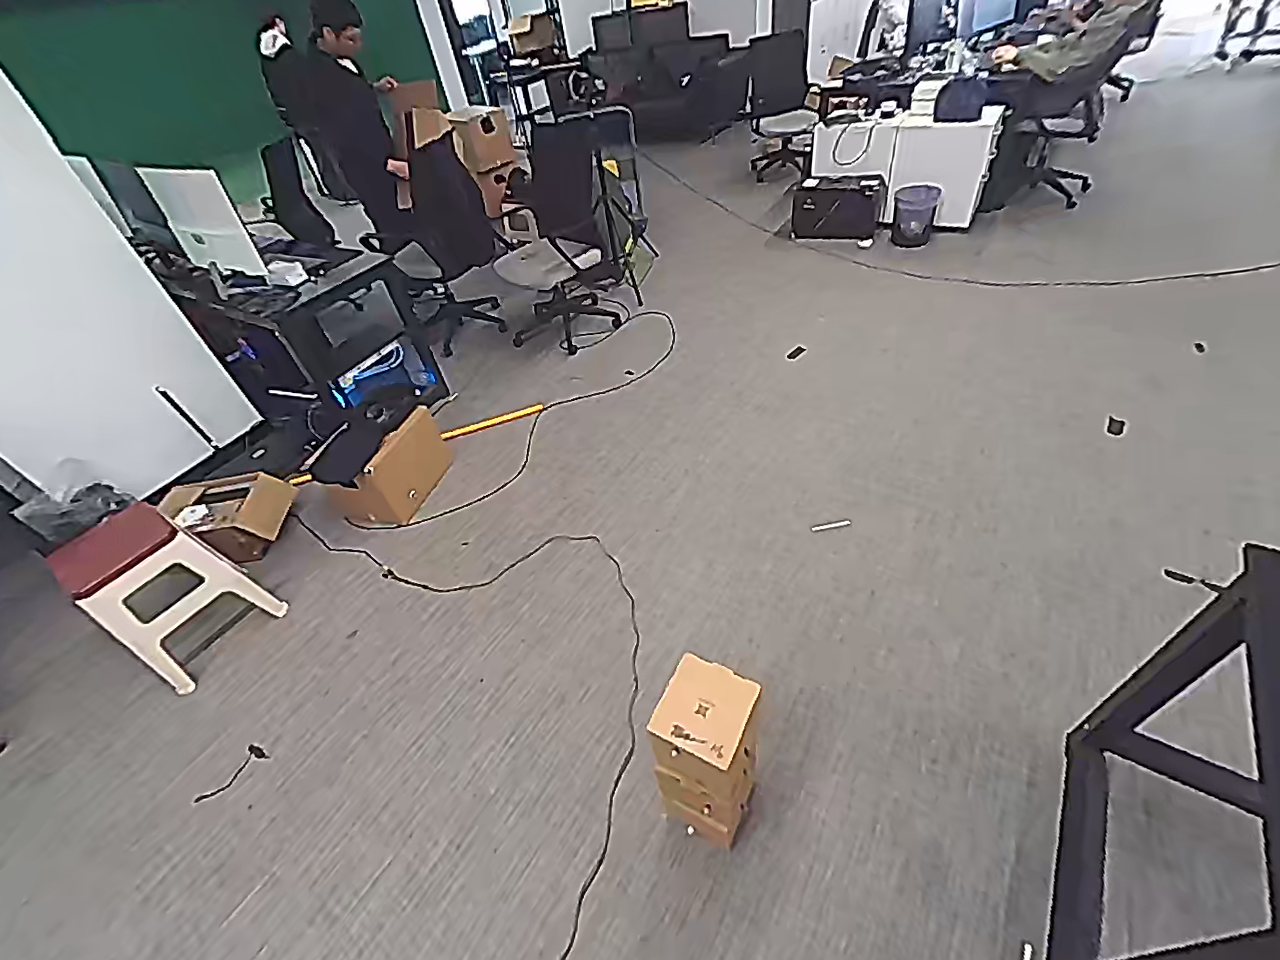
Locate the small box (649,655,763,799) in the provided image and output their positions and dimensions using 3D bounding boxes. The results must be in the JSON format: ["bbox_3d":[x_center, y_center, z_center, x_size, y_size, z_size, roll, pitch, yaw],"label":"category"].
[{"bbox_3d":[0.135,0.492,1.080,0.168,0.176,0.179,16,49,26],"label":"small box"}]

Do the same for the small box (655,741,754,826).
[{"bbox_3d":[0.150,0.617,1.186,0.168,0.176,0.179,14,47,23],"label":"small box"}]

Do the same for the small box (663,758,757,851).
[{"bbox_3d":[0.171,0.739,1.292,0.168,0.176,0.179,16,50,26],"label":"small box"}]
